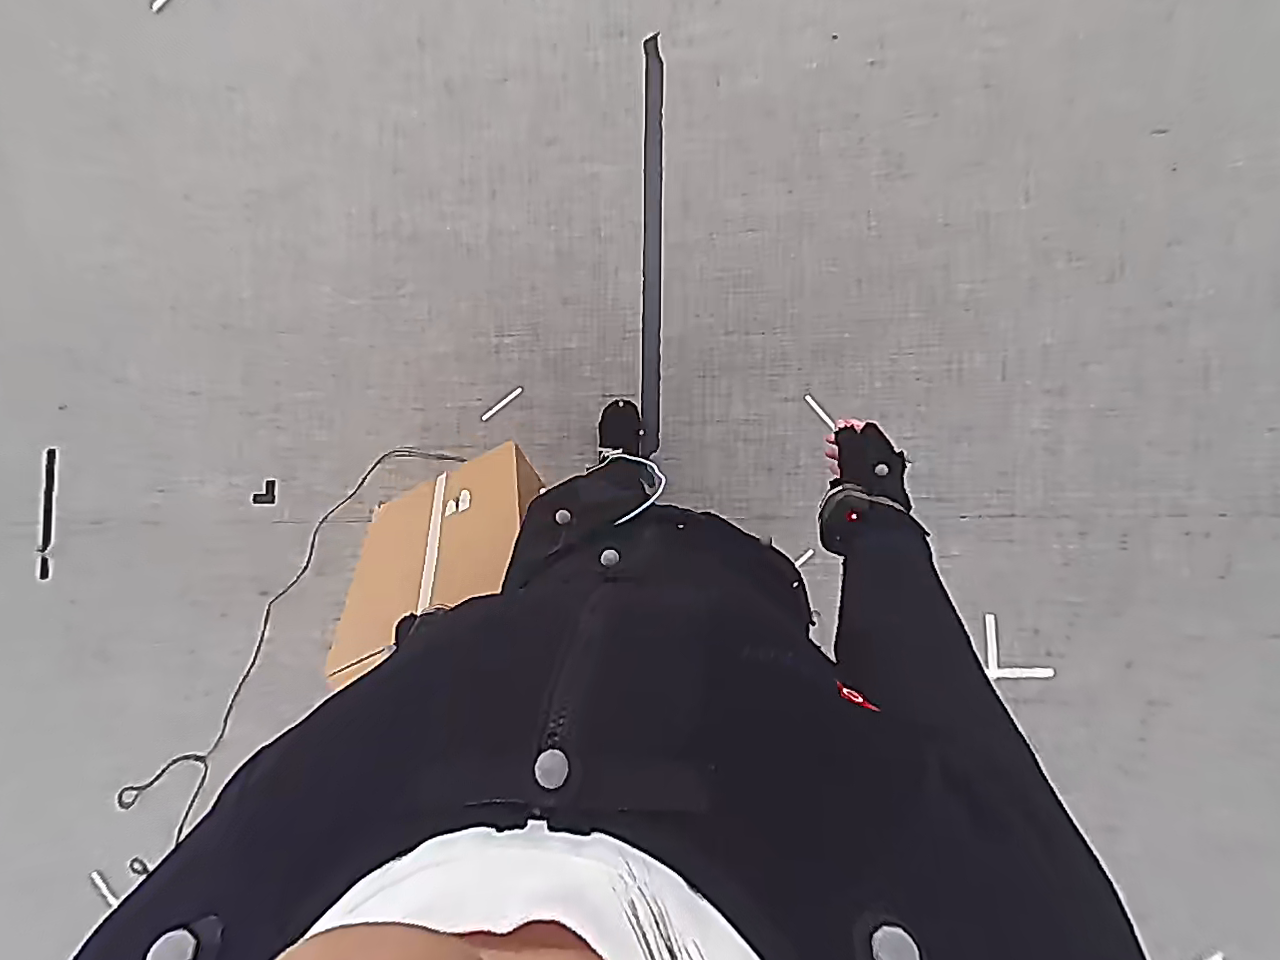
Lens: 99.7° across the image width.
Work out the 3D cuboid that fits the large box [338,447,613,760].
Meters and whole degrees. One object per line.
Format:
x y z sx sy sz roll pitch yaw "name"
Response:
-0.277 0.211 1.000 0.320 0.408 0.320 -26 124 3 "large box"
